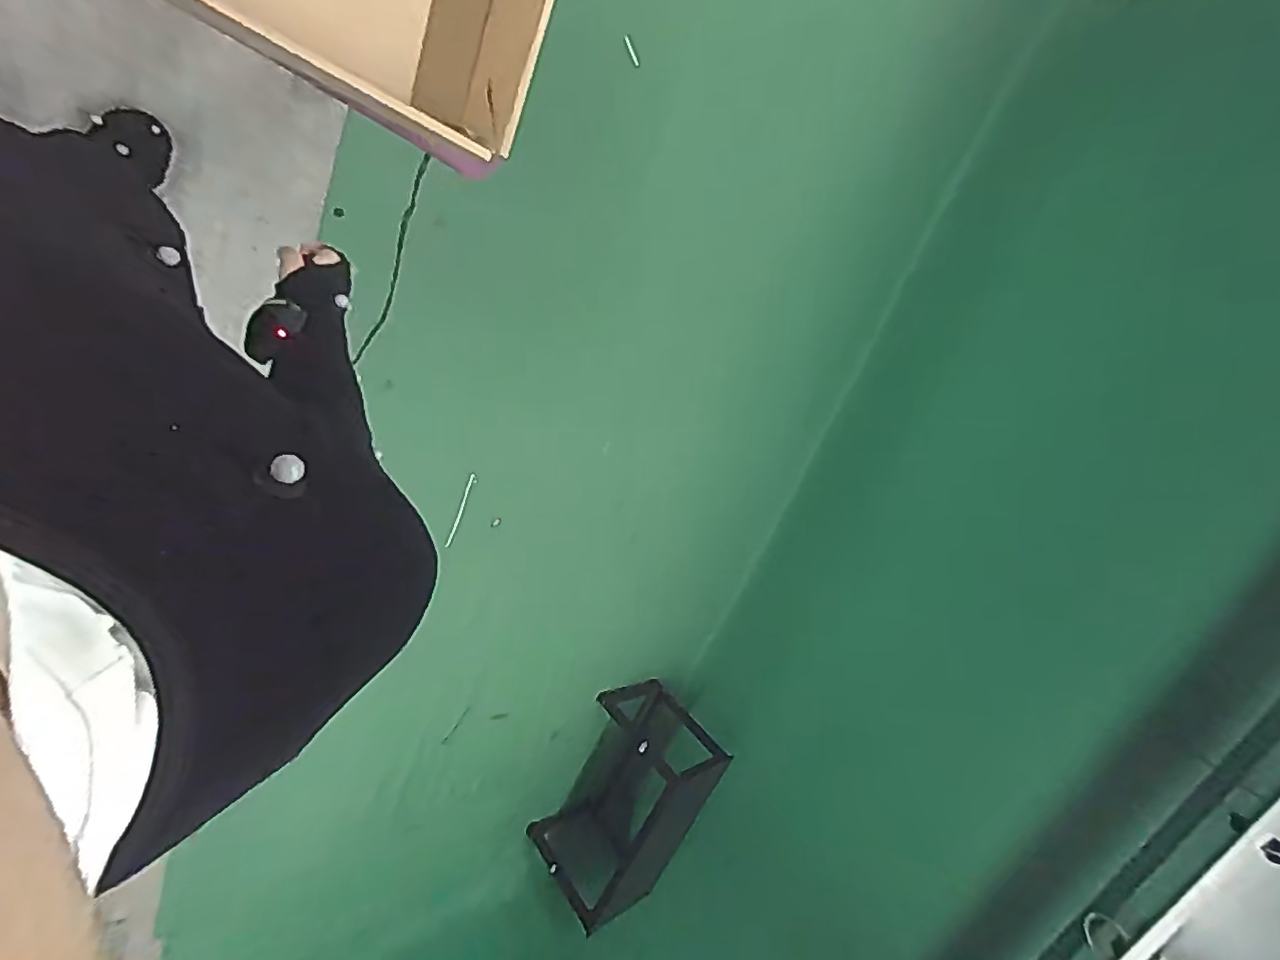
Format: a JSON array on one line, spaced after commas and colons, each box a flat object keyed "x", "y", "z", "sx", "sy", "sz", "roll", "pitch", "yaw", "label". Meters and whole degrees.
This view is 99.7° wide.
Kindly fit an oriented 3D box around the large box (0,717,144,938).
[{"x": -1.640, "y": 0.925, "z": 1.414, "sx": 0.408, "sy": 0.320, "sz": 0.320, "roll": -29, "pitch": 137, "yaw": -30, "label": "large box"}]
